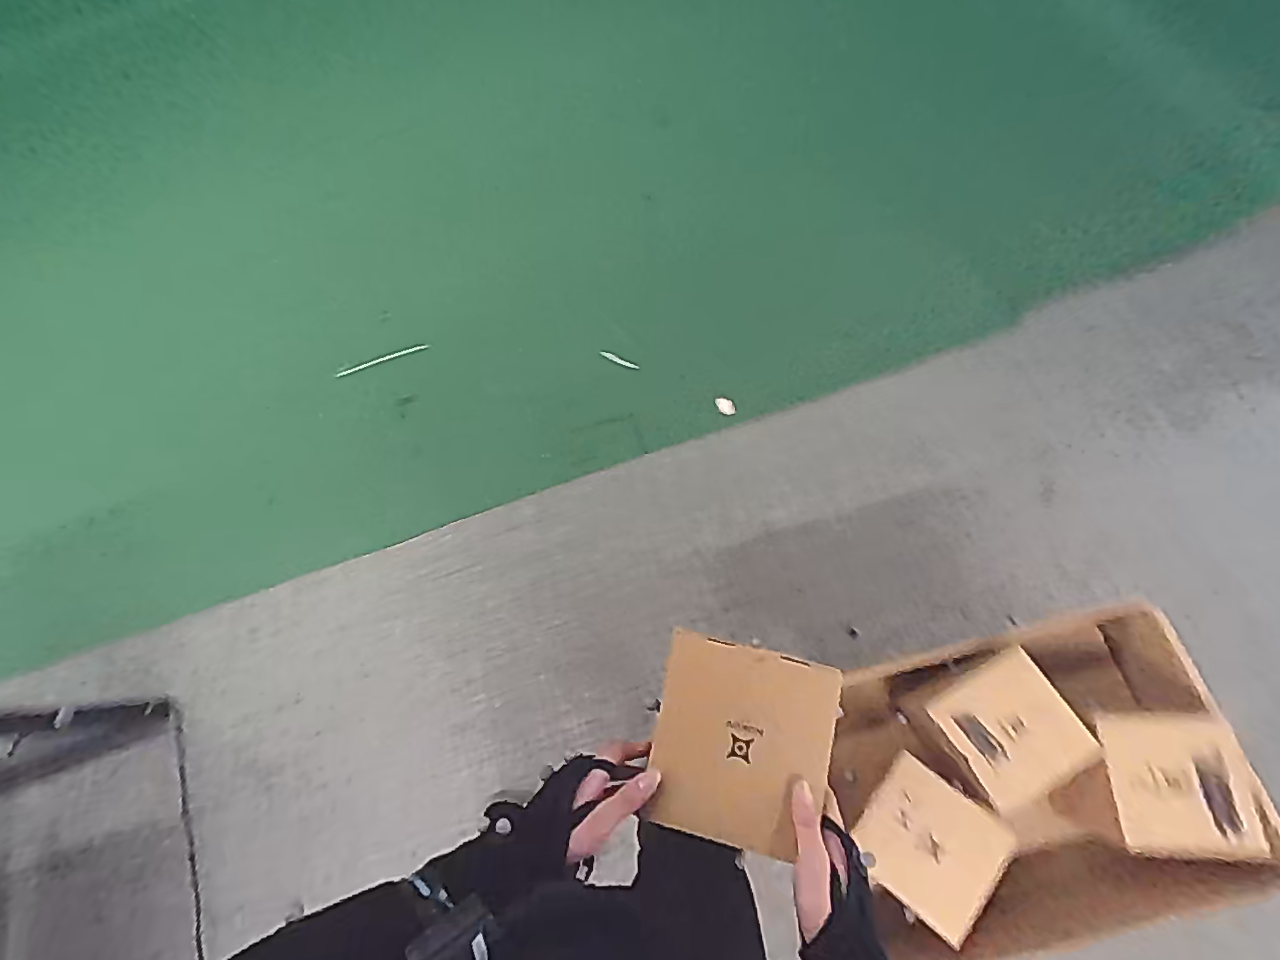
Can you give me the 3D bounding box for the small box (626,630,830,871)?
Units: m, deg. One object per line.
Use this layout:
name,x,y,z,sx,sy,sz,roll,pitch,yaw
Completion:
small box,0.090,0.268,0.583,0.168,0.176,0.179,12,76,6
